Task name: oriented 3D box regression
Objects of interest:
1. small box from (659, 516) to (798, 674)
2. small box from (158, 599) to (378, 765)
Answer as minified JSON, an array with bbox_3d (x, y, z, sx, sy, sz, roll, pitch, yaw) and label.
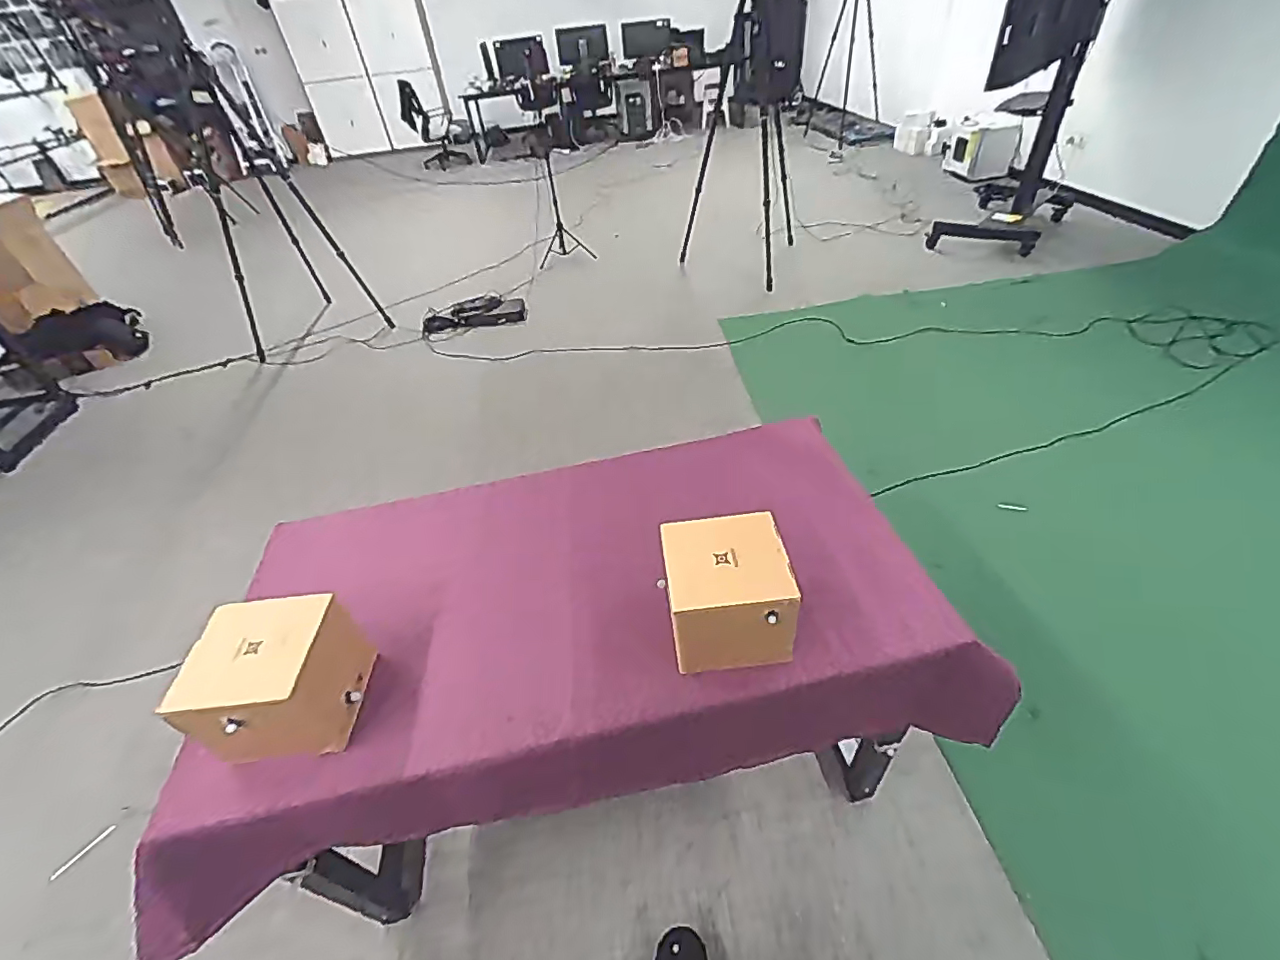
[{"bbox_3d":[0.129,0.180,0.831,0.179,0.176,0.168,-7,42,0],"label":"small box"},{"bbox_3d":[-0.524,0.299,0.795,0.179,0.176,0.168,-6,42,1],"label":"small box"}]
